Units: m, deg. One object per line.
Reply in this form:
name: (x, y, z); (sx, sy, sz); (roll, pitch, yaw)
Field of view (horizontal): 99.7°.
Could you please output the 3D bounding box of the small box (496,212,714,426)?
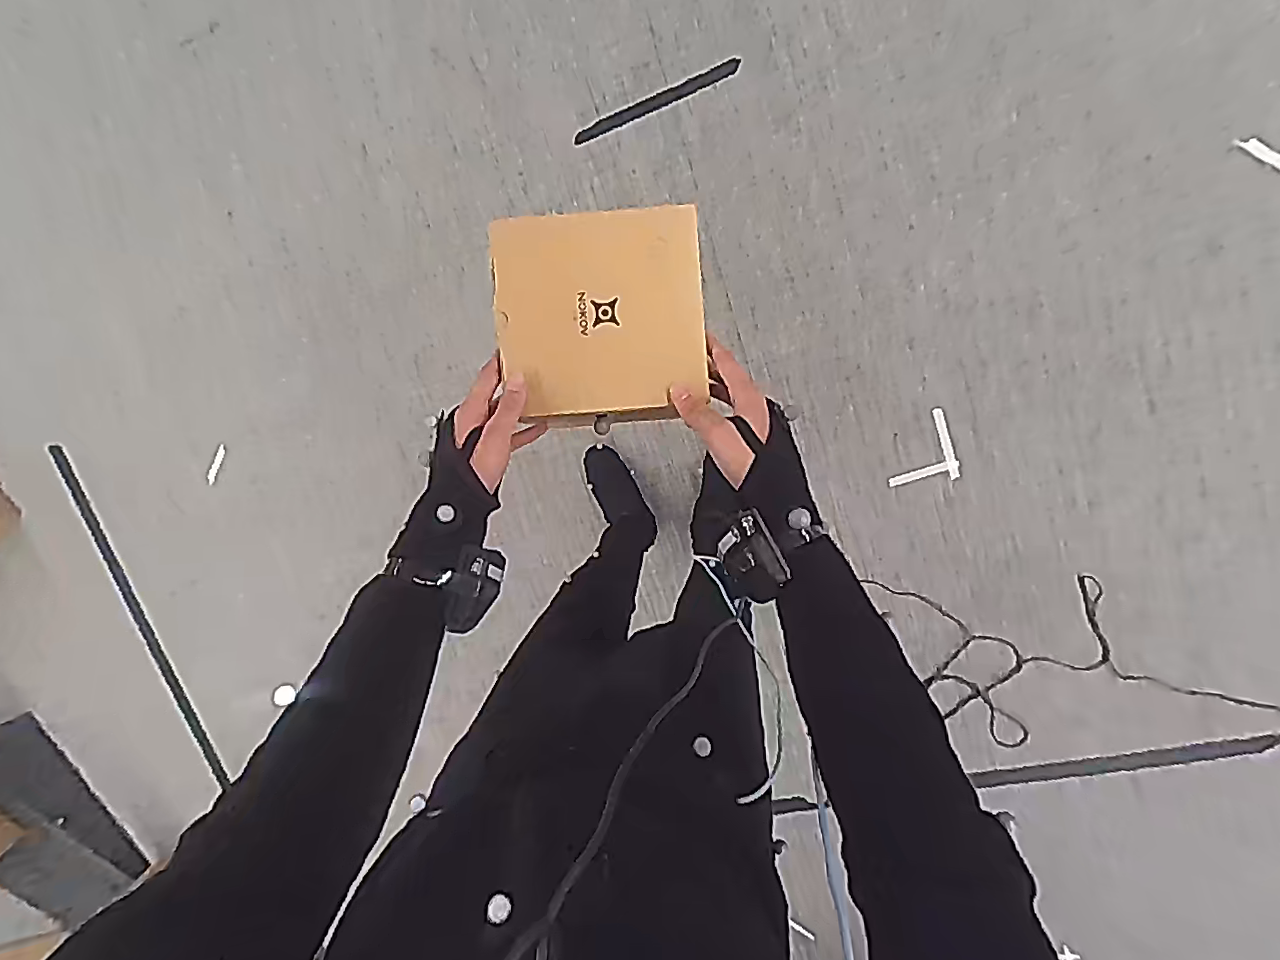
small box: (-0.028, -0.142, 0.532); (0.179, 0.176, 0.168); (-4, 94, 2)
